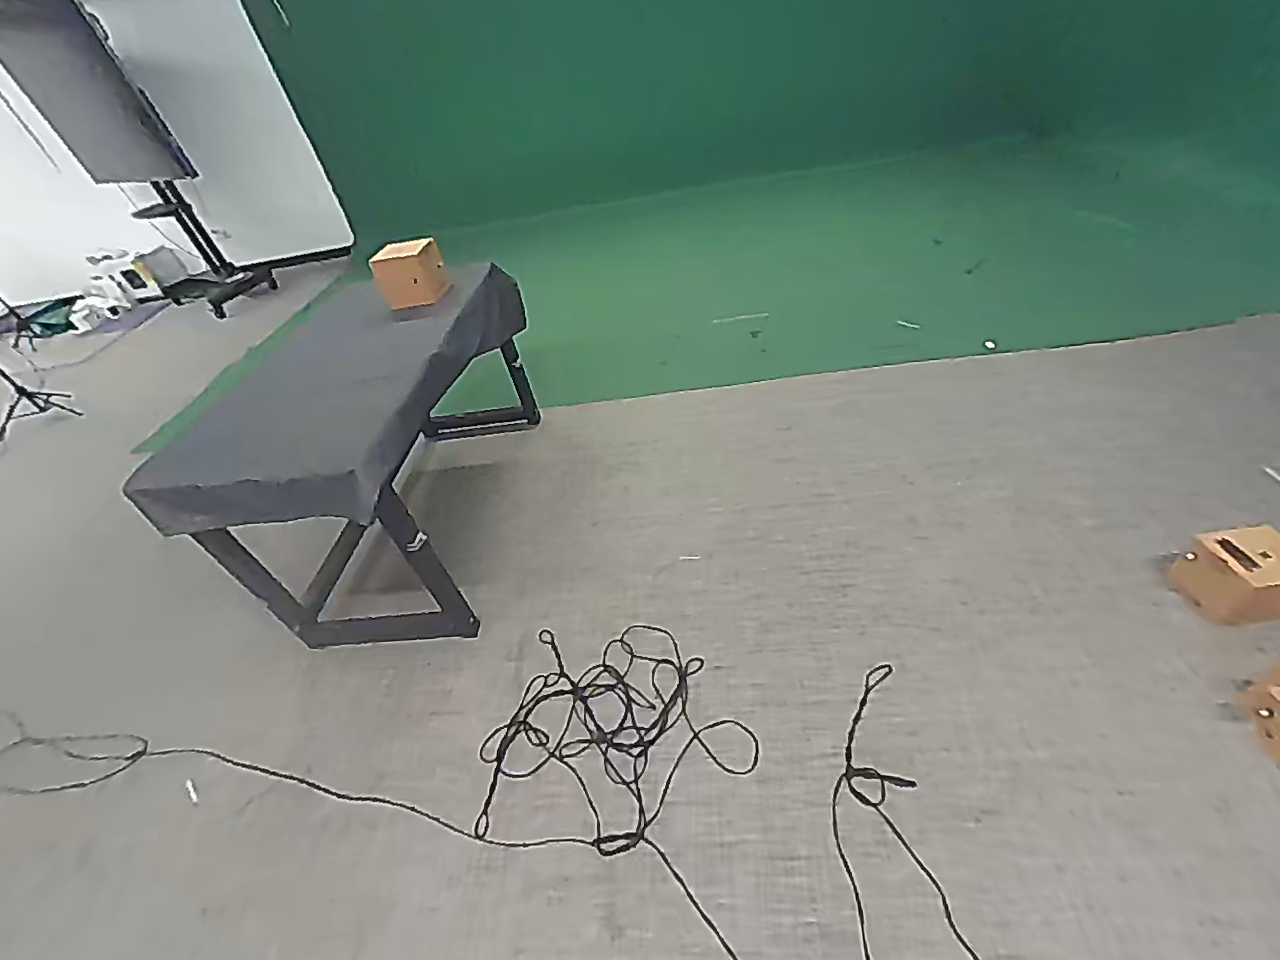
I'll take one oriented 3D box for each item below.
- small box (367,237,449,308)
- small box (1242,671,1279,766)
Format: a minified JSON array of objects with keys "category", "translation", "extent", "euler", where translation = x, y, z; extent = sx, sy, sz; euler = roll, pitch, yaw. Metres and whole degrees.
[{"category":"small box","translation":[-0.783,-0.709,1.853],"extent":[0.179,0.176,0.168],"euler":[-6,40,10]},{"category":"small box","translation":[1.397,0.485,1.083],"extent":[0.179,0.176,0.168],"euler":[2,43,16]}]
